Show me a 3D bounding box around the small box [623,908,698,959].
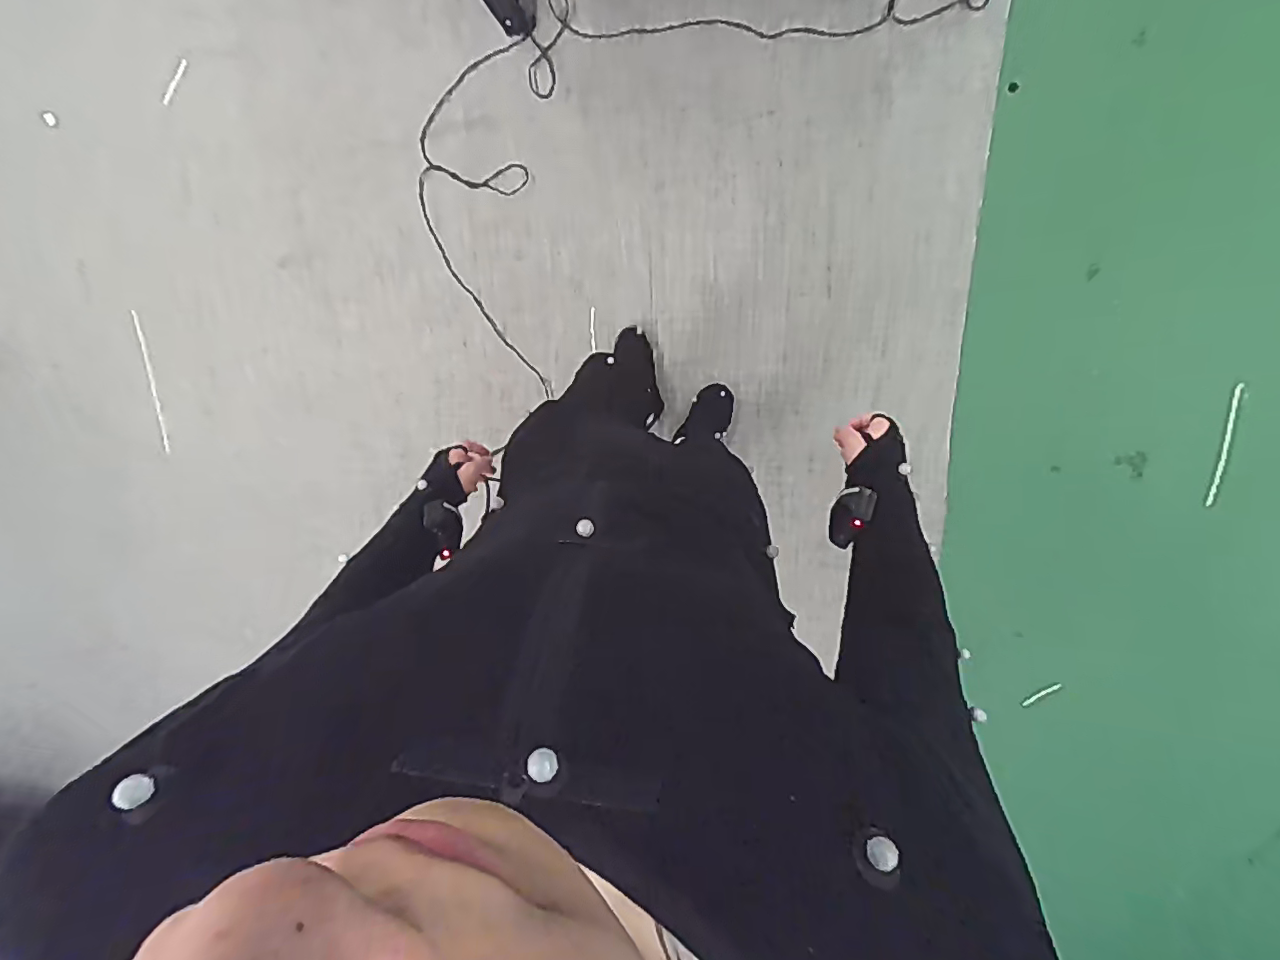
[{"bbox_3d":[0.038,1.139,1.233,0.168,0.176,0.179,10,105,6],"label":"small box"}]
